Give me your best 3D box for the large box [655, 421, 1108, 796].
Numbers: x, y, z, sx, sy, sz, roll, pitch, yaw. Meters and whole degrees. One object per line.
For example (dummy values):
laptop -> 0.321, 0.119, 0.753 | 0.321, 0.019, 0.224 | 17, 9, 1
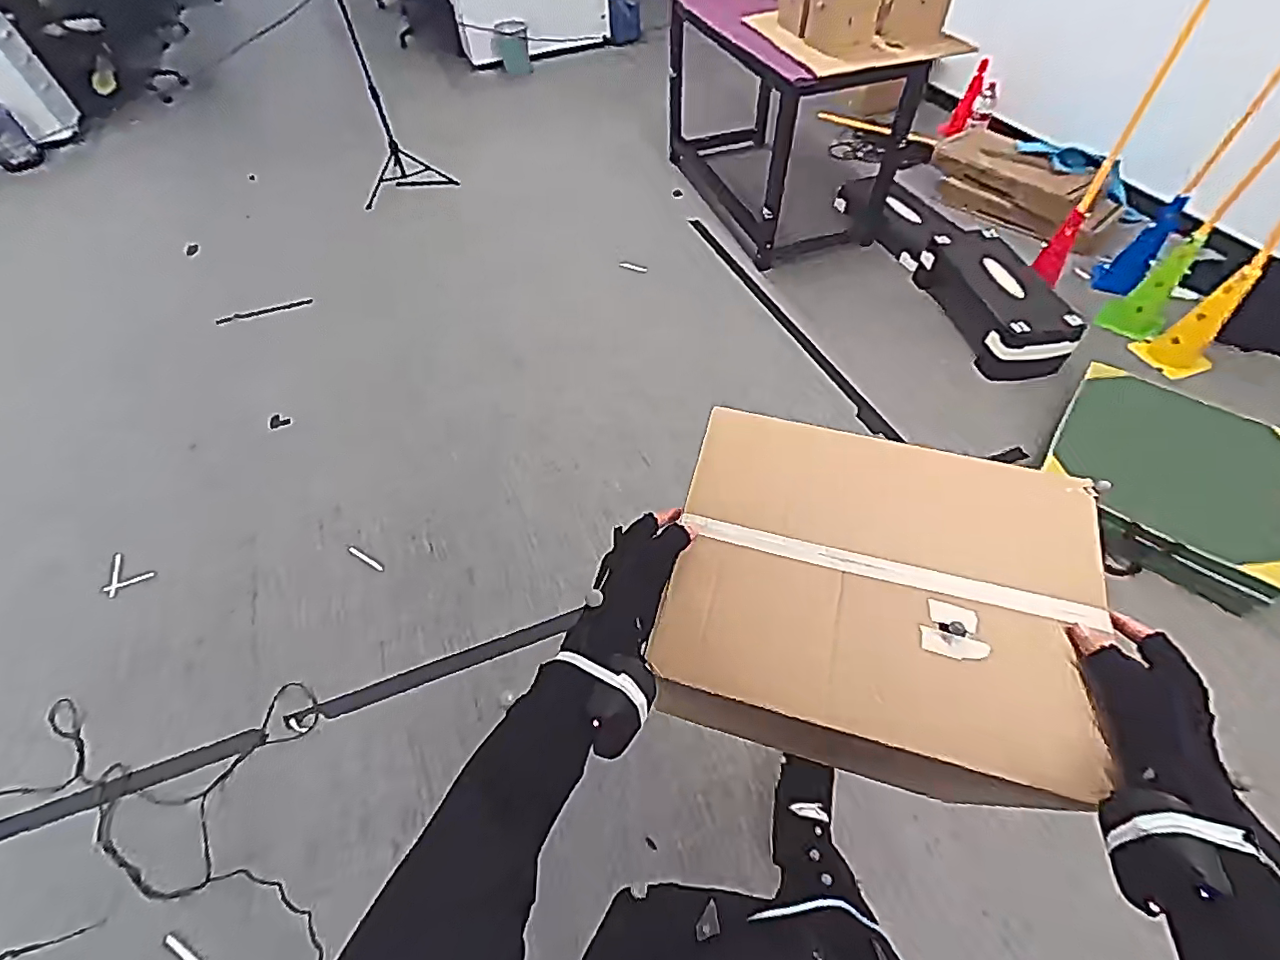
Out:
large box -> 0.248, 0.168, 0.682 | 0.408, 0.320, 0.320 | 13, 64, 10
